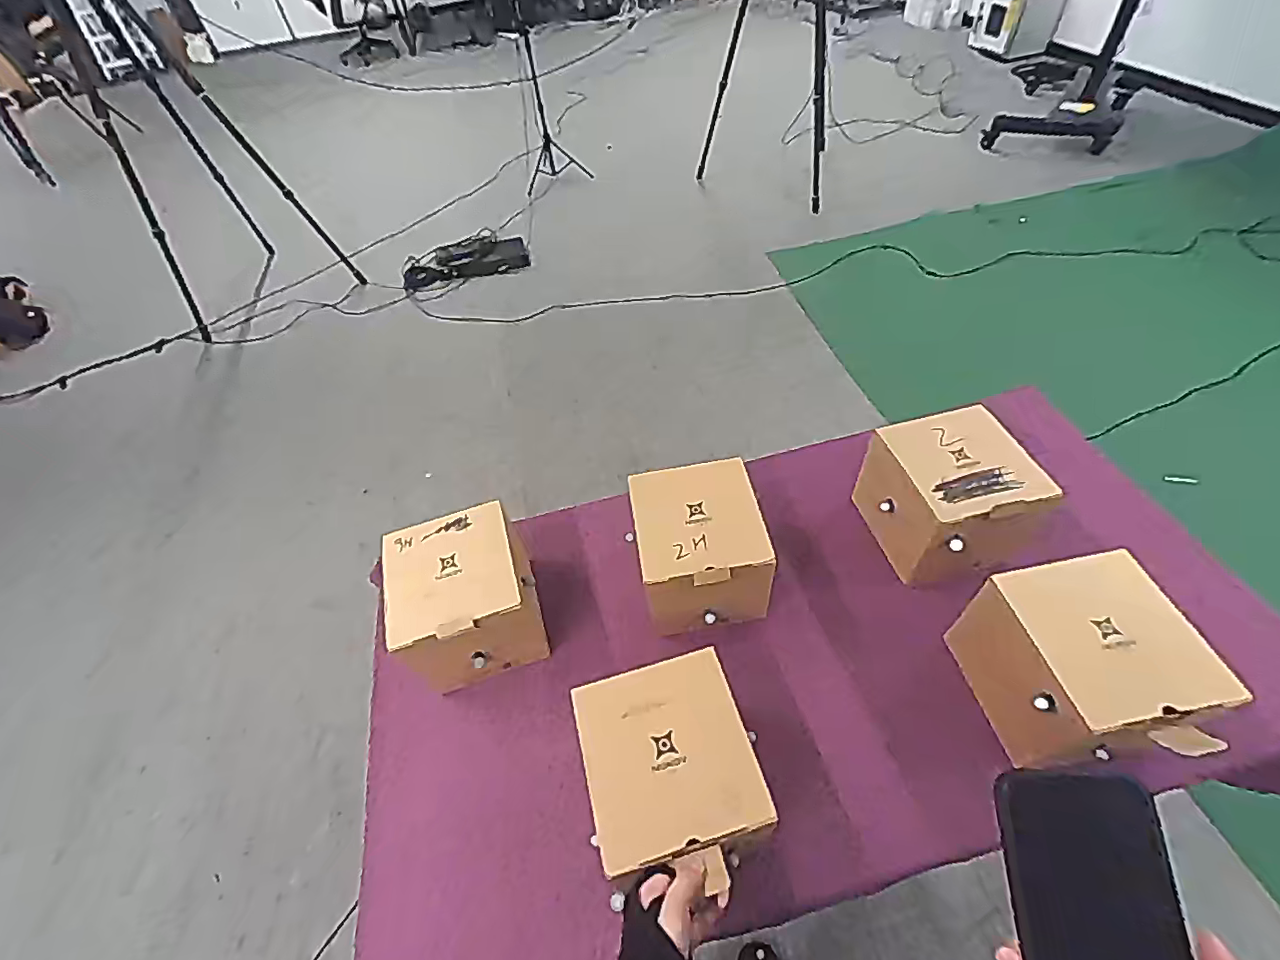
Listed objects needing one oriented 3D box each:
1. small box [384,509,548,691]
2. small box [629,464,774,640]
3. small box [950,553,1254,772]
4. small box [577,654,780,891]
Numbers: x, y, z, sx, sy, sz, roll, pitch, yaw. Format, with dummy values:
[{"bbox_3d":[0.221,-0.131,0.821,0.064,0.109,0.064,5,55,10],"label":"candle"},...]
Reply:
[{"bbox_3d":[-0.237,0.176,0.758,0.168,0.176,0.179,-18,52,-8],"label":"small box"},{"bbox_3d":[0.081,0.104,0.773,0.168,0.176,0.179,-10,51,0],"label":"small box"},{"bbox_3d":[0.501,0.213,0.627,0.168,0.176,0.179,-11,51,-1],"label":"small box"},{"bbox_3d":[0.039,0.326,0.595,0.168,0.176,0.179,-14,48,-6],"label":"small box"}]
